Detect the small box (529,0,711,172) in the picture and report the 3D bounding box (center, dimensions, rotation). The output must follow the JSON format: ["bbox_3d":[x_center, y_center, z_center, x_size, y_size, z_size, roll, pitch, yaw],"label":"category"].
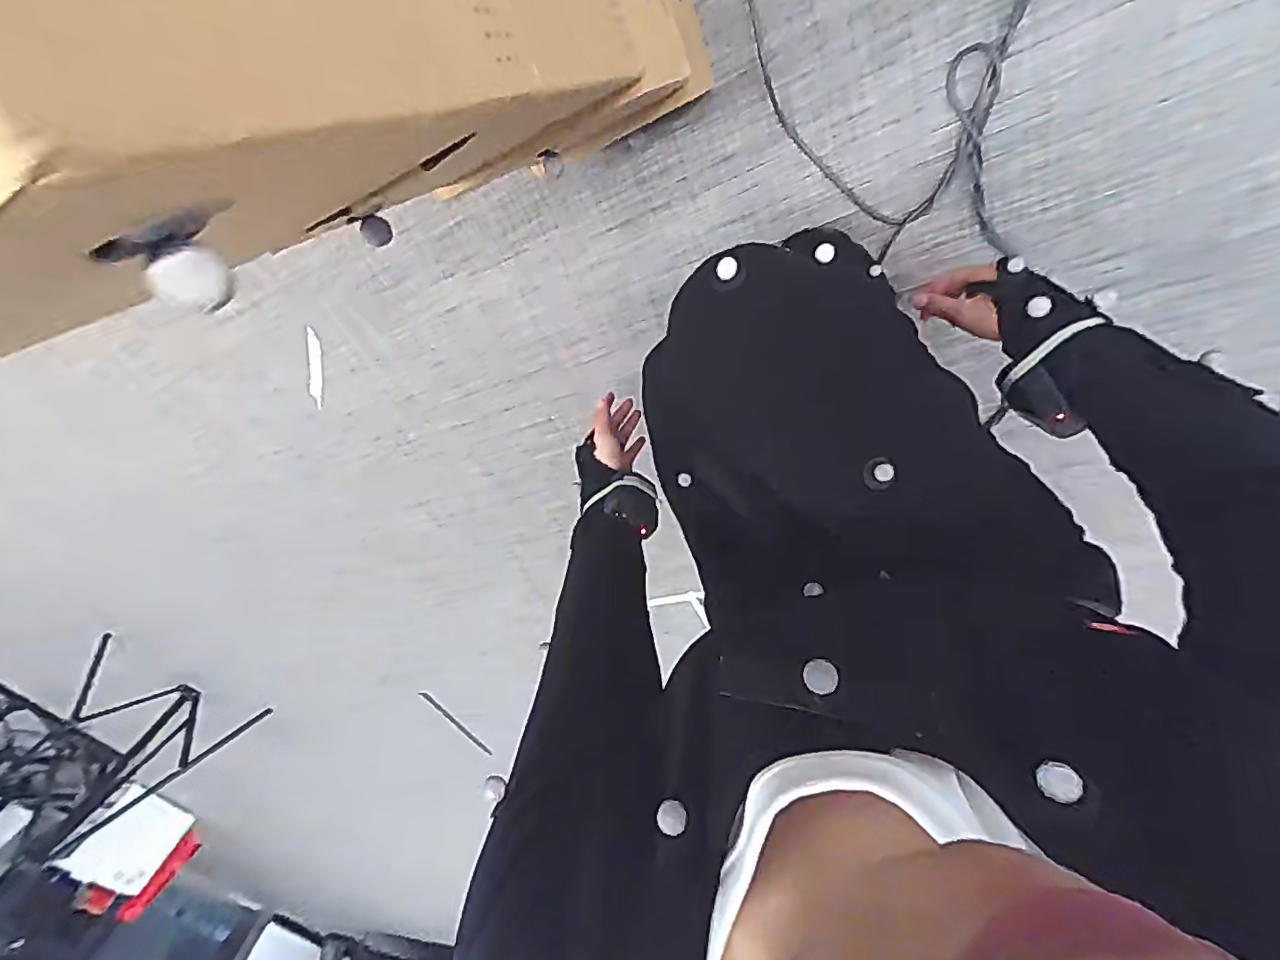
[{"bbox_3d":[-0.043,-0.424,0.506,0.168,0.176,0.179,-11,125,25],"label":"small box"}]

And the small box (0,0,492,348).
[{"bbox_3d":[-0.159,-0.138,0.122,0.179,0.176,0.168,-11,123,25],"label":"small box"}]

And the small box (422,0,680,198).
[{"bbox_3d":[-0.081,-0.332,0.378,0.179,0.176,0.168,-11,124,25],"label":"small box"}]
